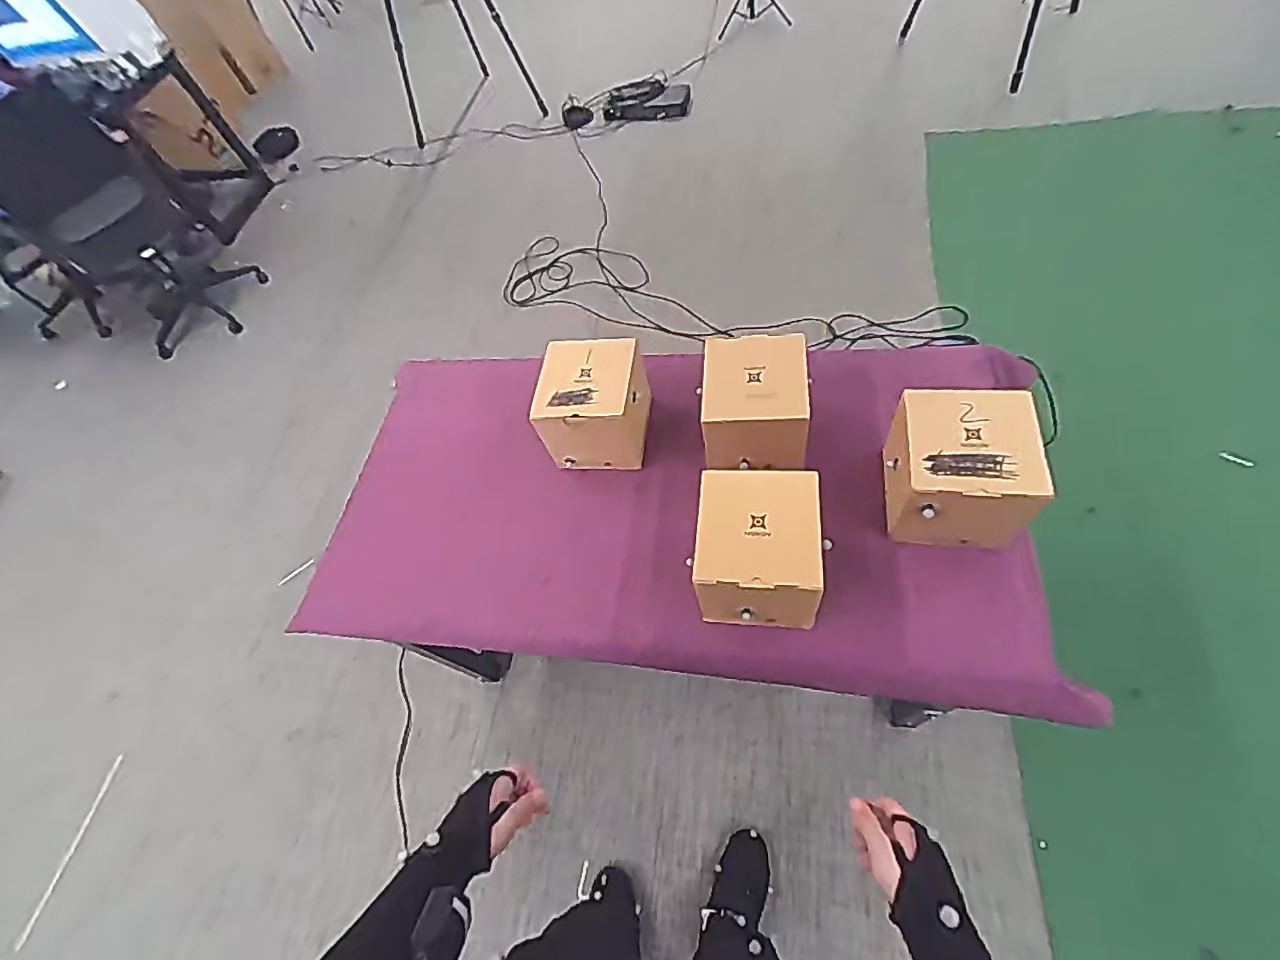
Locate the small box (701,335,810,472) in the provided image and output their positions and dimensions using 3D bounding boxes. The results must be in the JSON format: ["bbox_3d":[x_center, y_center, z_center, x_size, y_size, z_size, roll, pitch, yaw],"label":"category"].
[{"bbox_3d":[0.199,-0.126,0.934,0.168,0.176,0.179,1,61,13],"label":"small box"}]

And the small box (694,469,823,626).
[{"bbox_3d":[0.174,0.102,0.803,0.168,0.176,0.179,2,60,12],"label":"small box"}]

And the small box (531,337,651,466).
[{"bbox_3d":[-0.079,-0.139,0.995,0.168,0.176,0.179,2,60,12],"label":"small box"}]
